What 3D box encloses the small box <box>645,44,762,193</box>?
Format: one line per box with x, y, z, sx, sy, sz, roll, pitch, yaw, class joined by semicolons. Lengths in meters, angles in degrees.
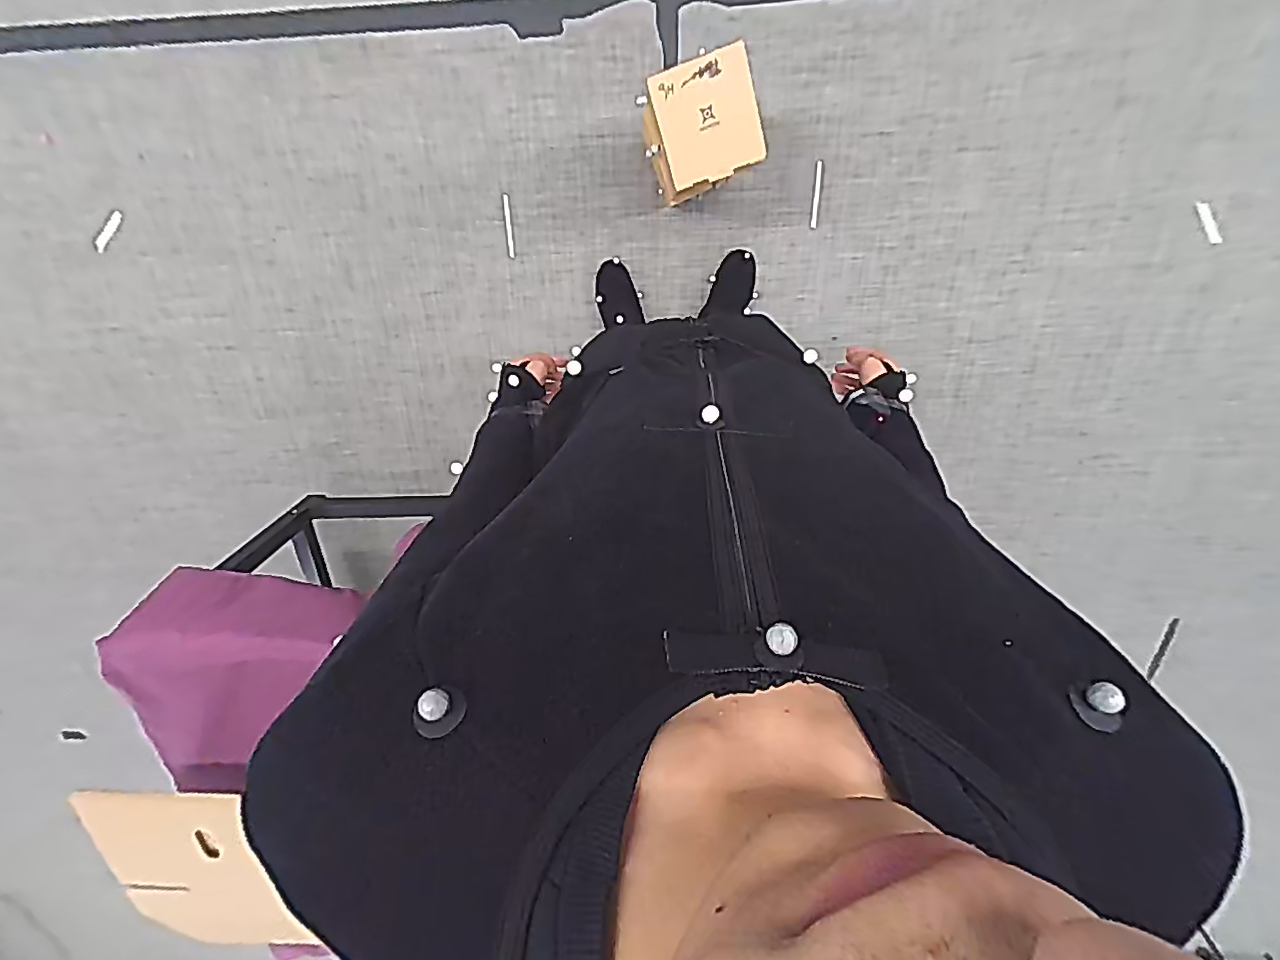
0.112;-0.641;0.982;0.168;0.176;0.179;-16;115;8;small box
